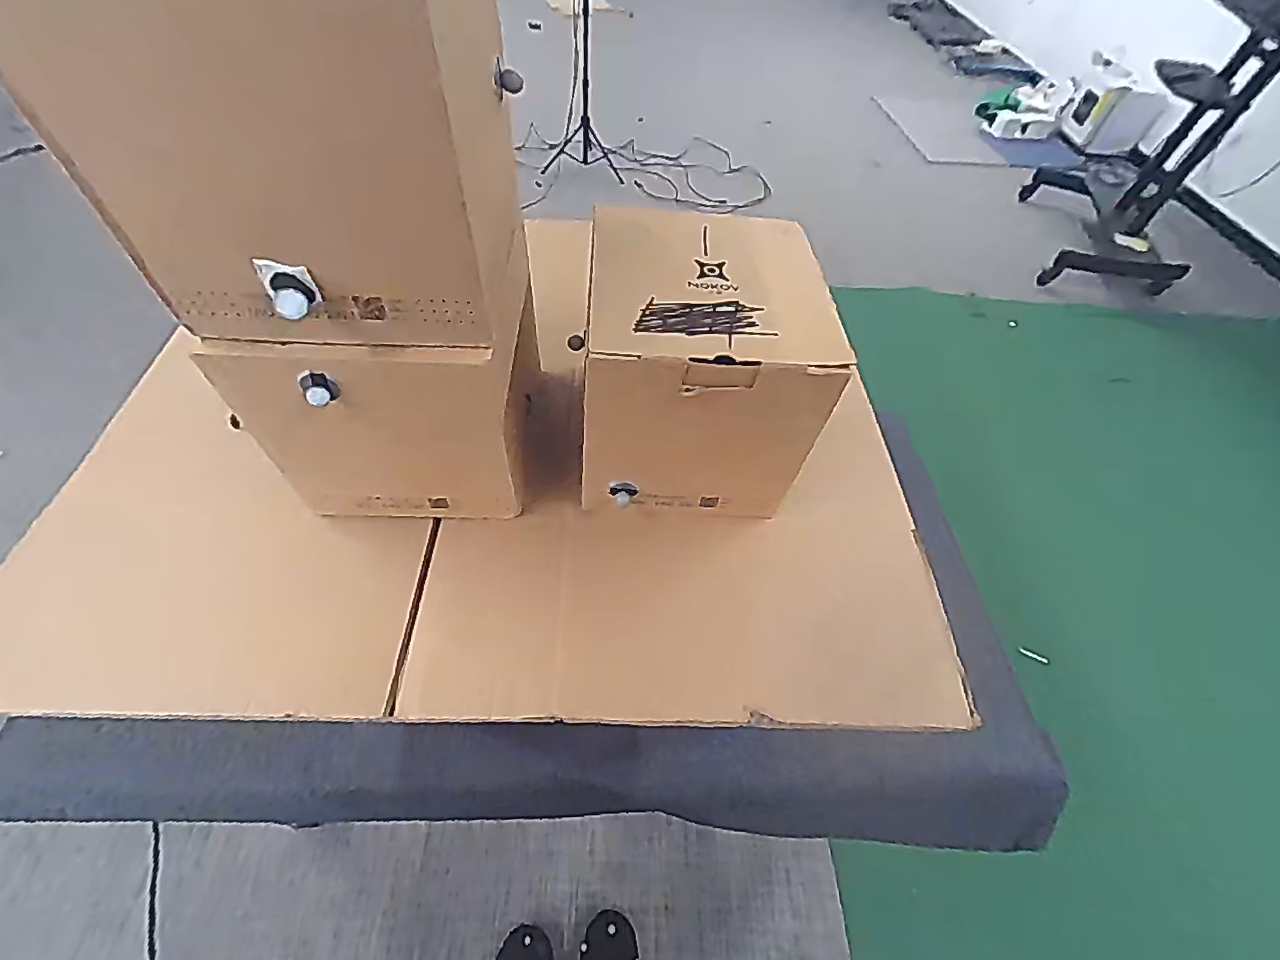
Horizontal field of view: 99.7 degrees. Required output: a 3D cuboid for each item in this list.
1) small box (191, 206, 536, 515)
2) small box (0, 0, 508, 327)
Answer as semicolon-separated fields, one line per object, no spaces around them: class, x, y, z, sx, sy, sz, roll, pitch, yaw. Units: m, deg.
small box;-0.176;-0.092;0.419;0.168;0.176;0.179;1;54;-3
small box;-0.165;-0.203;0.280;0.168;0.176;0.179;-1;56;-5
